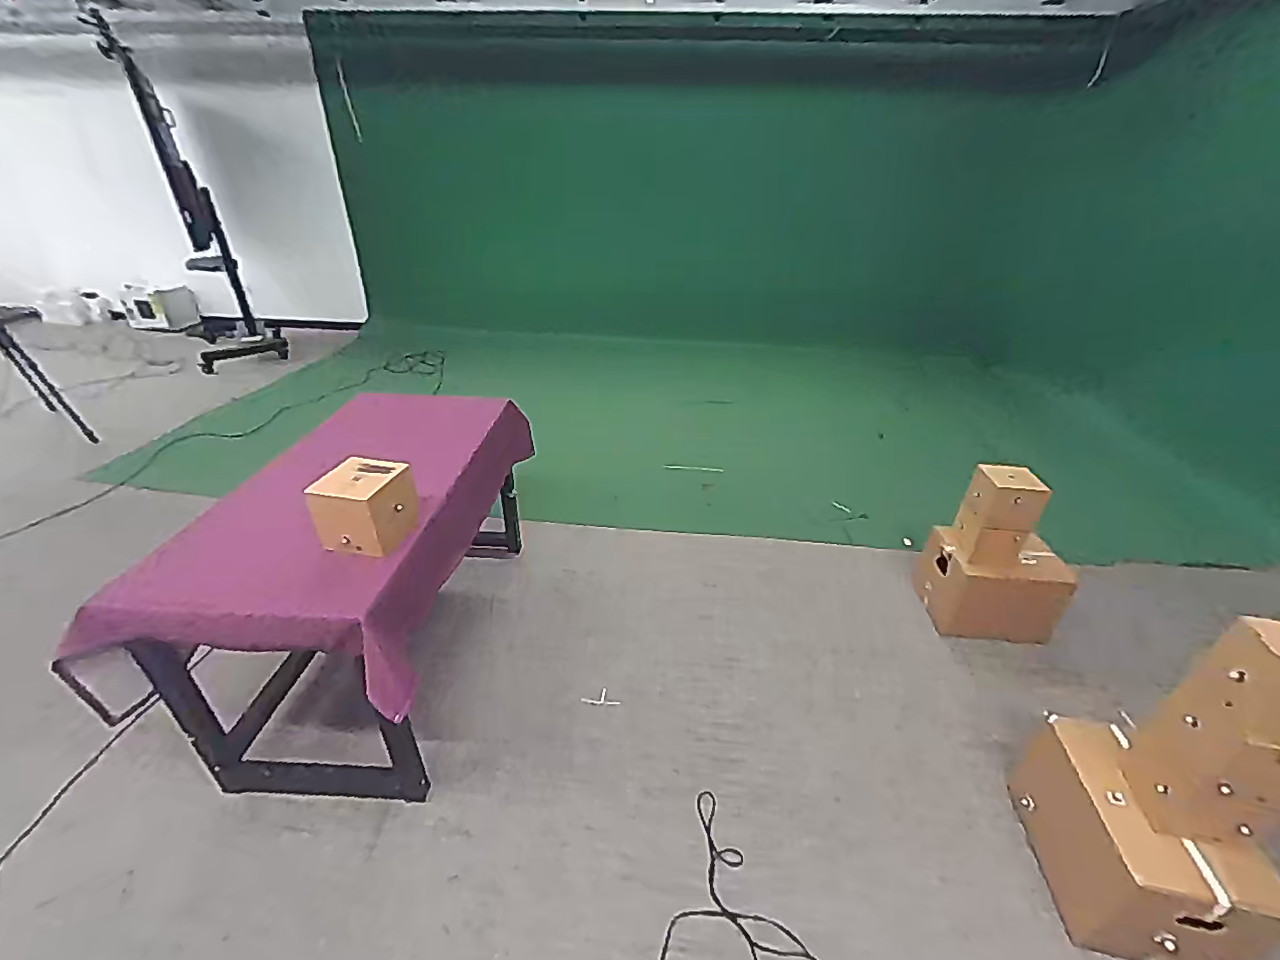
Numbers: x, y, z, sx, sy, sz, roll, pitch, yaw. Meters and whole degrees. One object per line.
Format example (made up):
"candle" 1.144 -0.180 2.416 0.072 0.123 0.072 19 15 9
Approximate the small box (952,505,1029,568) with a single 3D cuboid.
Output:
"small box" 1.289 0.210 2.009 0.179 0.176 0.168 6 31 4

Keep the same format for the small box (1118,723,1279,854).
"small box" 1.228 0.684 1.200 0.168 0.176 0.179 11 31 11

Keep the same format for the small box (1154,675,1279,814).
"small box" 1.233 0.544 1.114 0.168 0.176 0.179 12 31 12

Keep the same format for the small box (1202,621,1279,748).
"small box" 1.246 0.402 1.032 0.179 0.176 0.168 10 32 11

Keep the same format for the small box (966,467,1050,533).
"small box" 1.292 0.072 1.919 0.179 0.176 0.168 6 31 4

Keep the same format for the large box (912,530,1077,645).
"large box" 1.369 0.421 2.137 0.408 0.320 0.320 5 31 3
